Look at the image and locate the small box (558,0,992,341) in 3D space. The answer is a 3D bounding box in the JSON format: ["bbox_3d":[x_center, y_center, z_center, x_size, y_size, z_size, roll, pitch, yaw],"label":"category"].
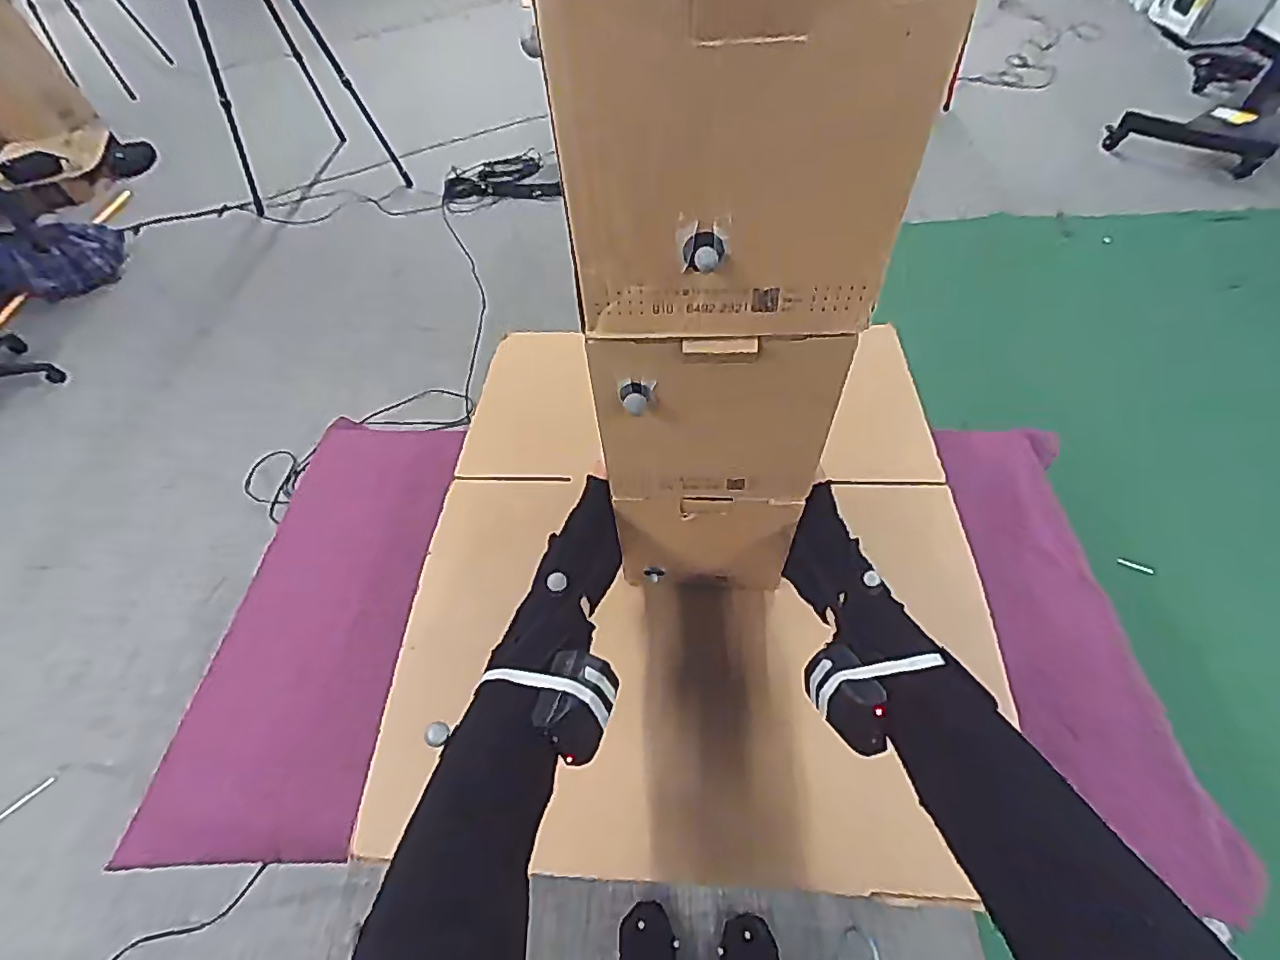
[{"bbox_3d":[0.053,-0.201,0.307,0.168,0.176,0.179,0,53,3],"label":"small box"}]

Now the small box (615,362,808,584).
[{"bbox_3d":[0.067,0.001,0.565,0.168,0.176,0.179,-1,55,3],"label":"small box"}]
